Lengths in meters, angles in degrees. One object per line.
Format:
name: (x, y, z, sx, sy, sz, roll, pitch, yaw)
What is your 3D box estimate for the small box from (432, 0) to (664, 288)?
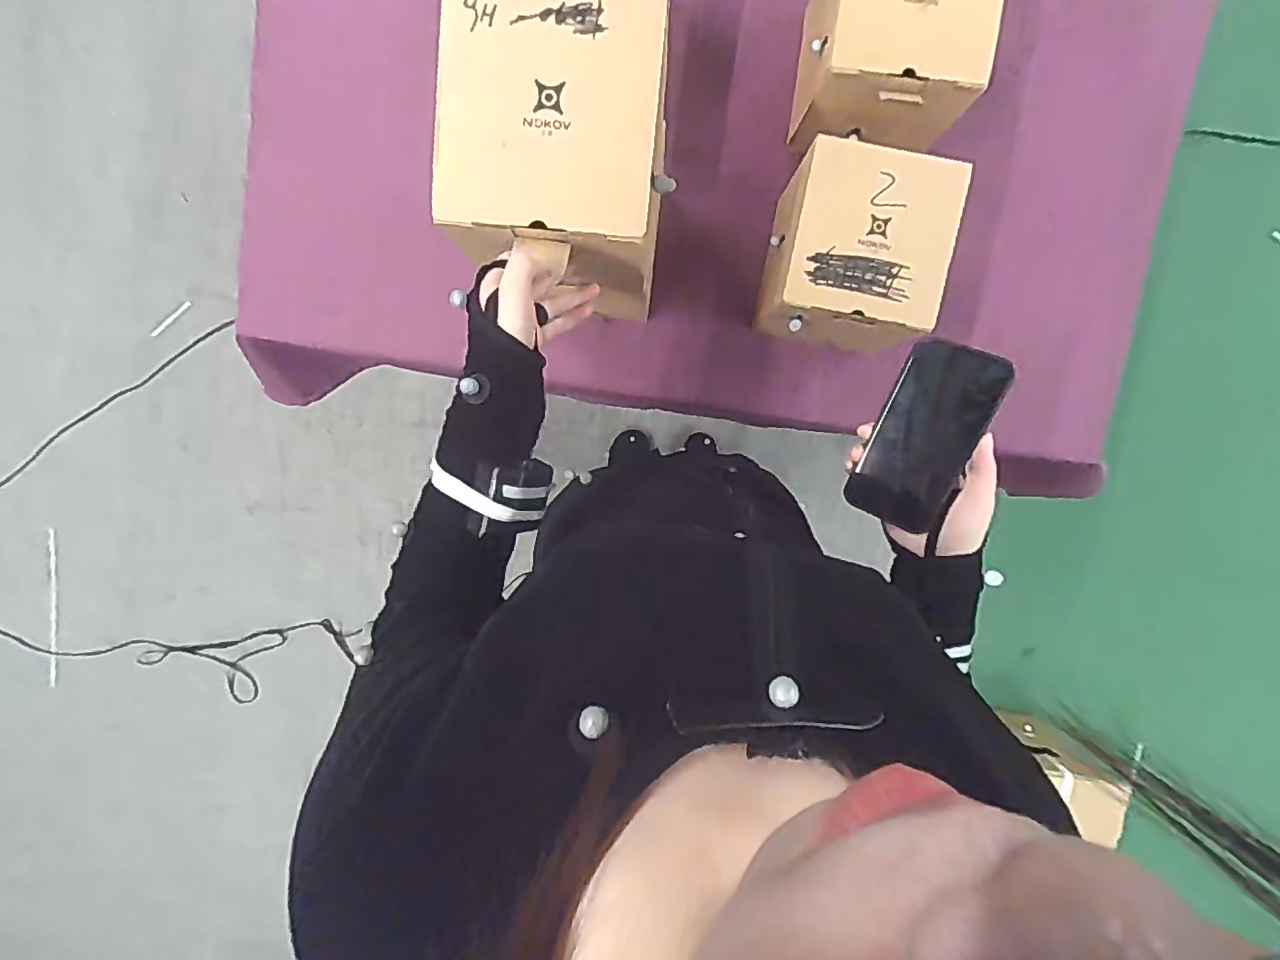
small box: (-0.069, -0.281, 0.481, 0.168, 0.176, 0.179, 5, 97, 0)

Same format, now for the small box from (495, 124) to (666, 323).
small box: (-0.064, -0.300, 0.644, 0.168, 0.176, 0.179, 7, 95, 1)

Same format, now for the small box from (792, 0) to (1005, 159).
small box: (0.283, -0.504, 0.617, 0.168, 0.176, 0.179, 6, 98, 1)
